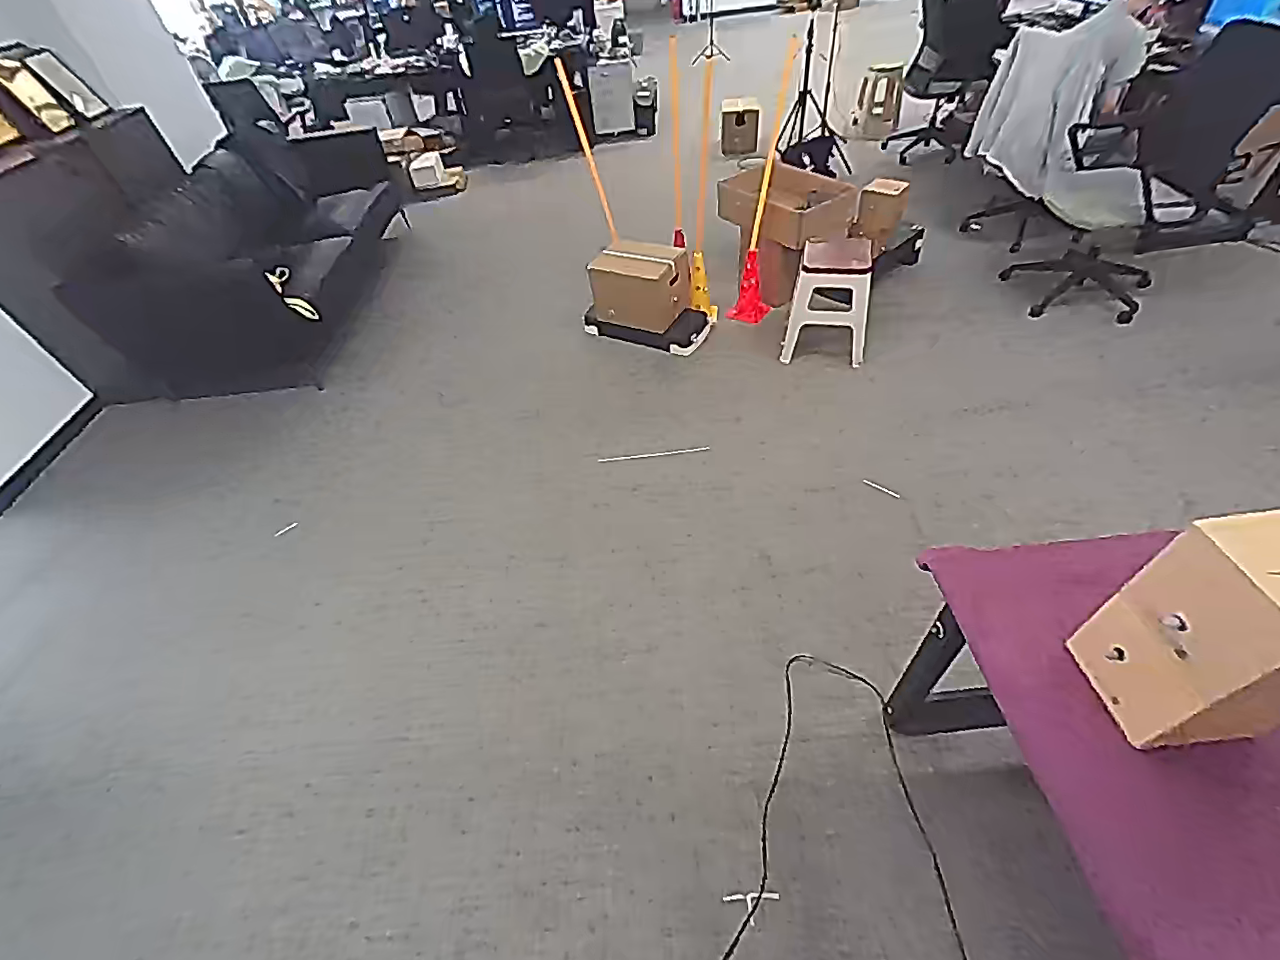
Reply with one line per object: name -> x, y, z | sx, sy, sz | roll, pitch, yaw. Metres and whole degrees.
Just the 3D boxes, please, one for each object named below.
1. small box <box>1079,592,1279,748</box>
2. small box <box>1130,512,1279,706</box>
small box -> 0.779, 0.265, 0.768 | 0.179, 0.176, 0.168 | -7, 47, 1
small box -> 0.764, 0.154, 0.648 | 0.179, 0.176, 0.168 | -7, 47, 2
